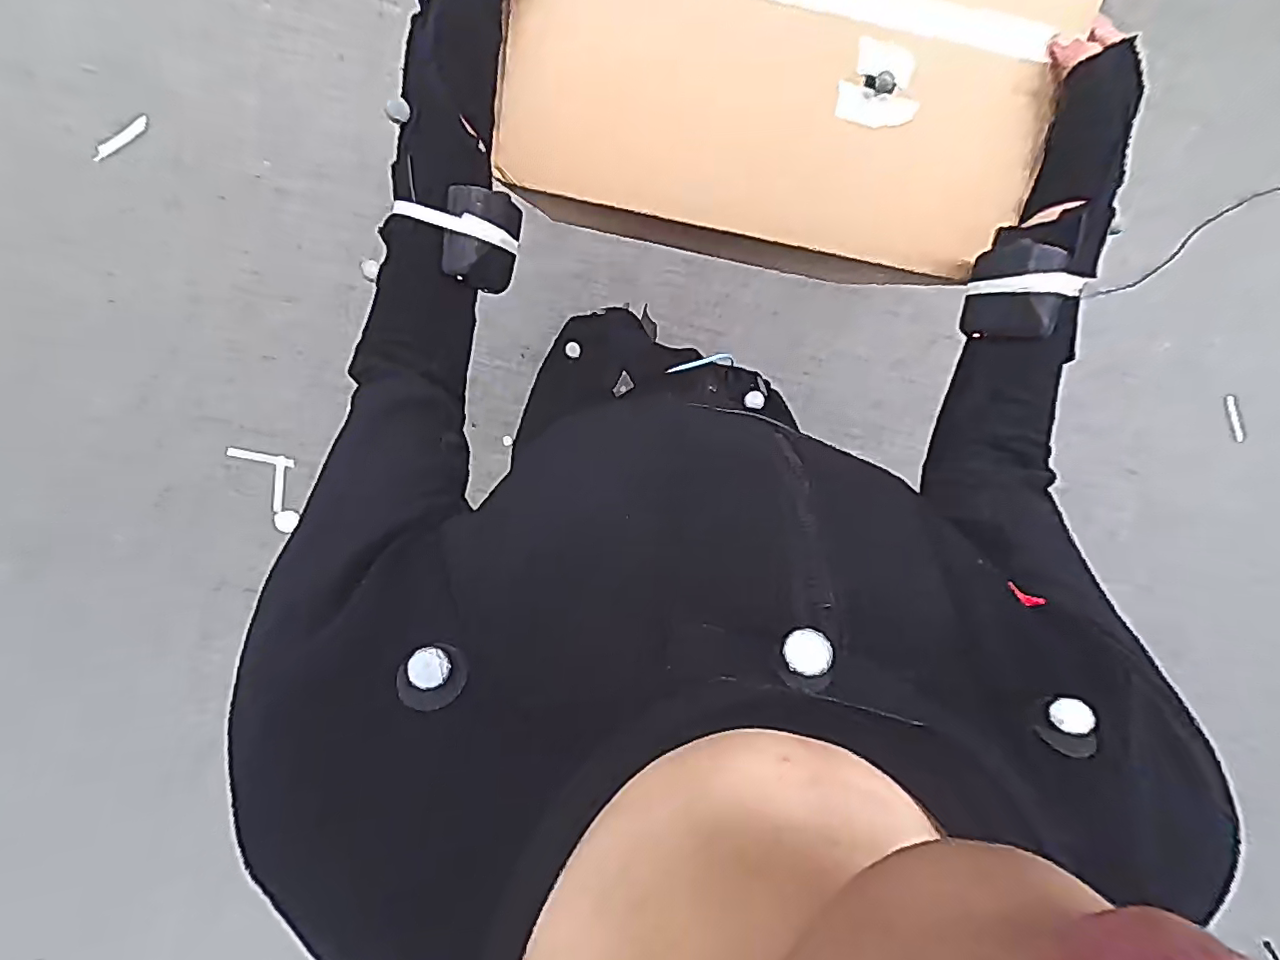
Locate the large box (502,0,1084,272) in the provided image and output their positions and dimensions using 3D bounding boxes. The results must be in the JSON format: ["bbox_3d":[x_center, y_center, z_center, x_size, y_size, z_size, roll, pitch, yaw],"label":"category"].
[{"bbox_3d":[0.107,-0.396,0.517,0.408,0.320,0.320,9,111,-6],"label":"large box"}]
